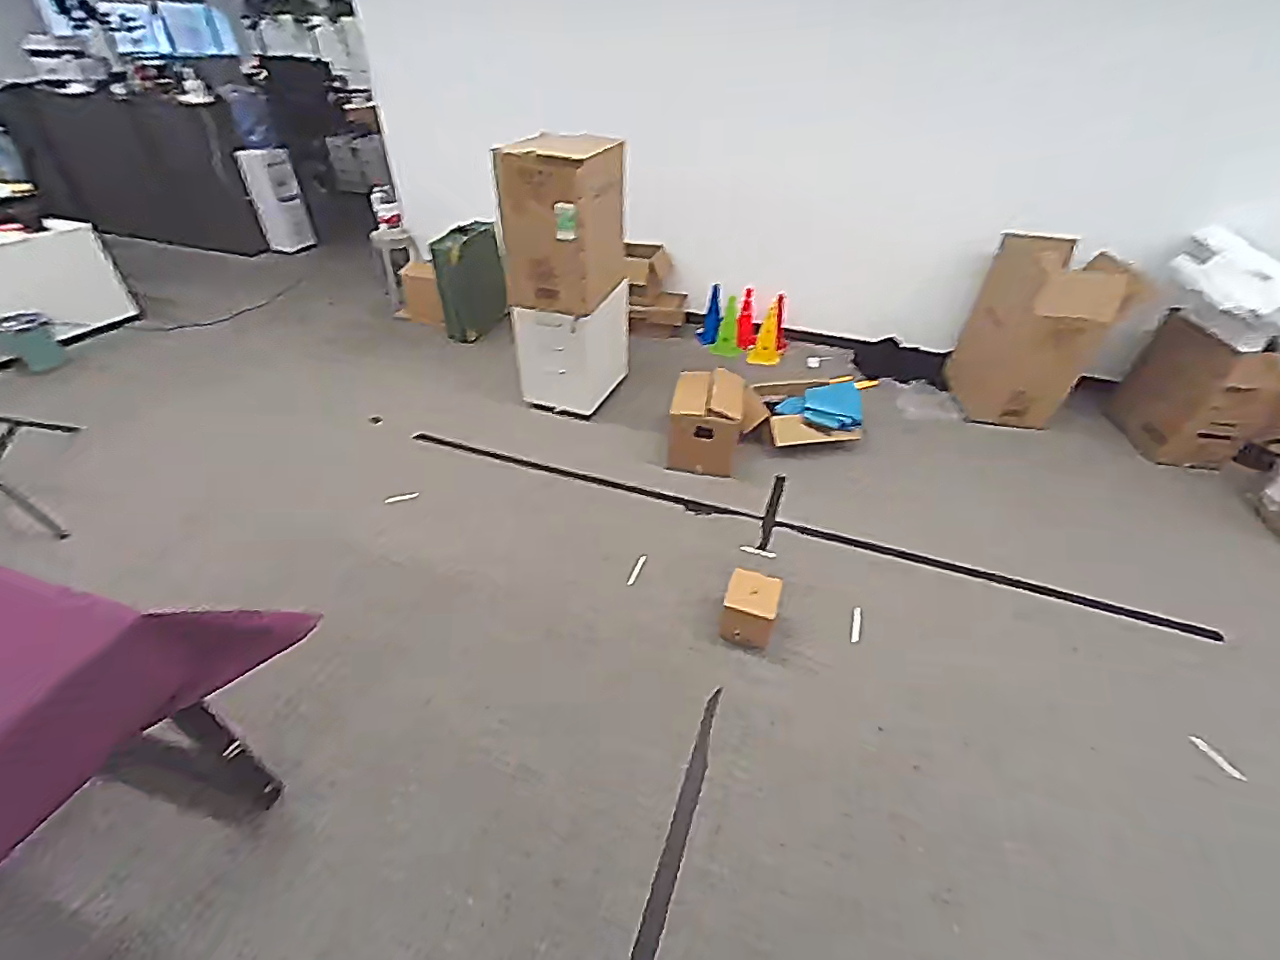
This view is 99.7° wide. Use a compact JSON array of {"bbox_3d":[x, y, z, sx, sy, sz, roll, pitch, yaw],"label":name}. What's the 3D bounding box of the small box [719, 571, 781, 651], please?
[{"bbox_3d":[0.368,0.443,1.828,0.168,0.176,0.179,13,40,15],"label":"small box"}]
